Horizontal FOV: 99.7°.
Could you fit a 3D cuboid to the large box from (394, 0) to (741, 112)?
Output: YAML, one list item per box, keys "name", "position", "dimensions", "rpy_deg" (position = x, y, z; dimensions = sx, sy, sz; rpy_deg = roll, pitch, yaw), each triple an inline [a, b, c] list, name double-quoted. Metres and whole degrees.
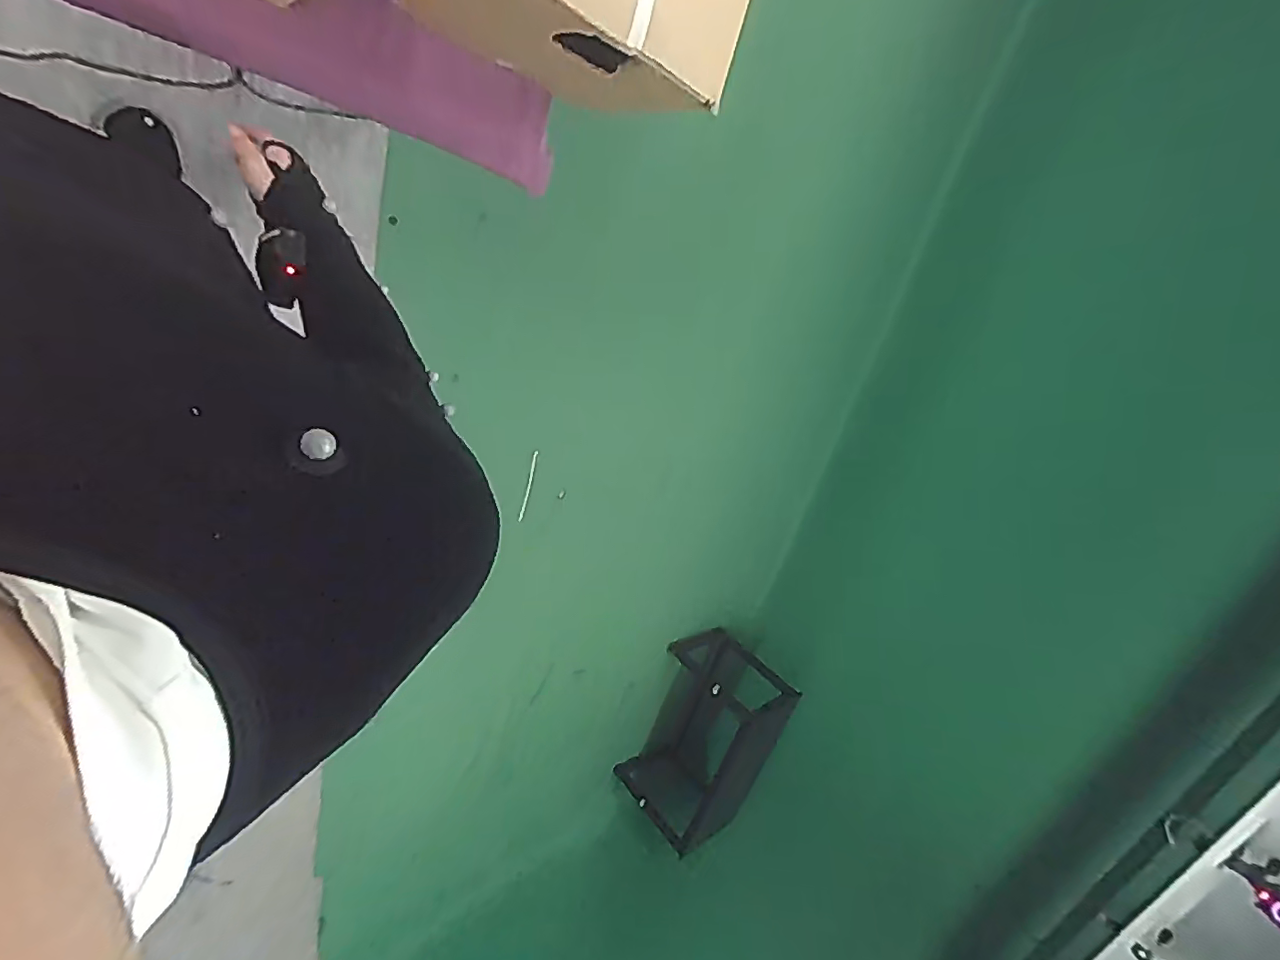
- name: "large box"
  position: [-0.058, -0.716, 0.619]
  dimensions: [0.320, 0.320, 0.408]
  rpy_deg: [-3, 120, -43]
